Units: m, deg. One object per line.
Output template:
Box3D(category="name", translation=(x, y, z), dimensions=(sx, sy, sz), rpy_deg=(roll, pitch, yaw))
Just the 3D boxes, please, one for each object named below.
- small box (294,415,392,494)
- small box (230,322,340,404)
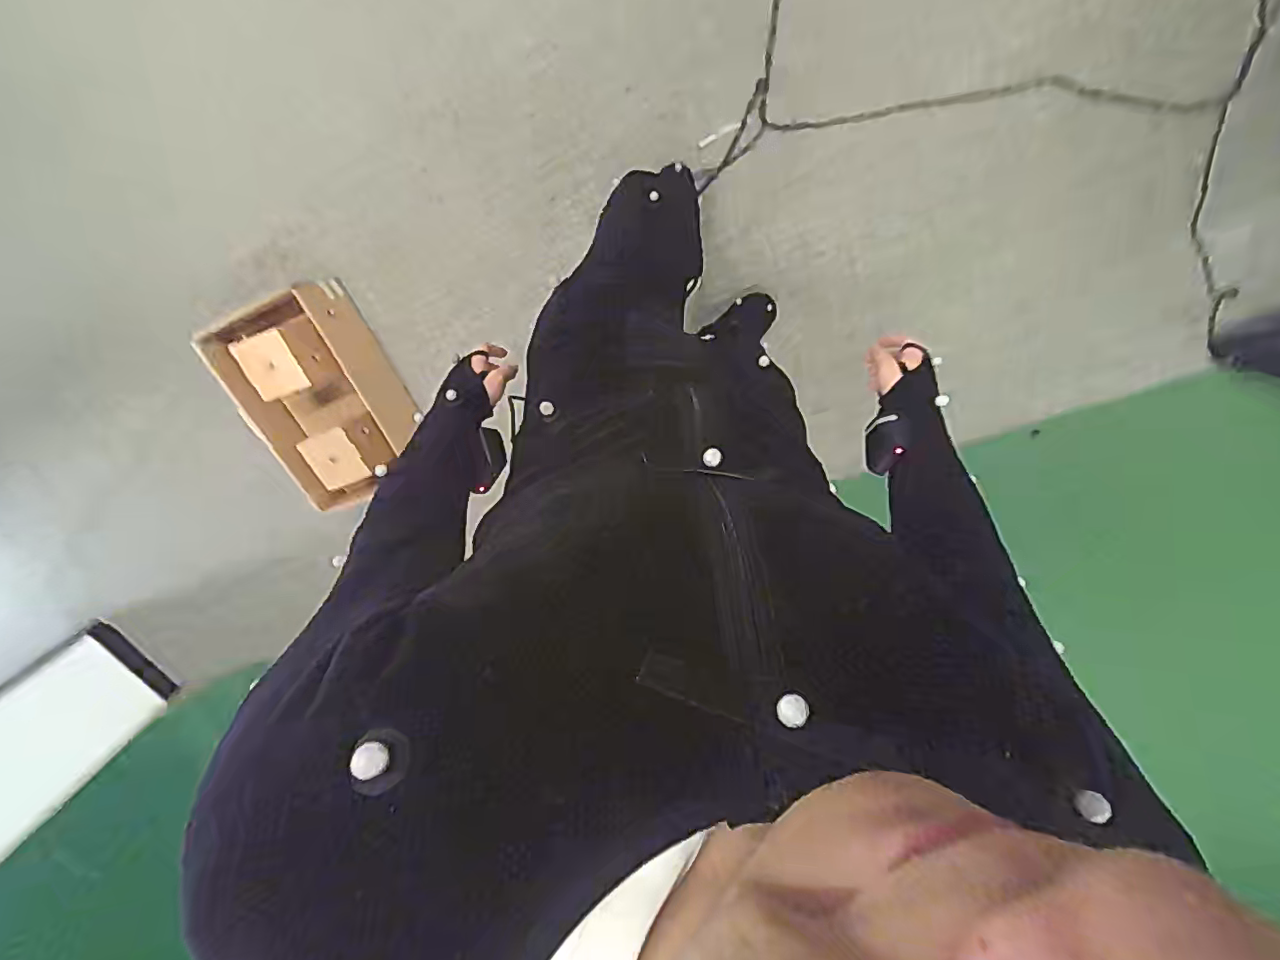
Box3D(category="small box", translation=(-0.901, -0.083, 1.667), dimensions=(0.179, 0.176, 0.168), rpy_deg=(-17, 111, 17))
Box3D(category="small box", translation=(-1.005, -0.342, 1.557), dimensions=(0.179, 0.176, 0.168), rpy_deg=(-14, 114, 15))
